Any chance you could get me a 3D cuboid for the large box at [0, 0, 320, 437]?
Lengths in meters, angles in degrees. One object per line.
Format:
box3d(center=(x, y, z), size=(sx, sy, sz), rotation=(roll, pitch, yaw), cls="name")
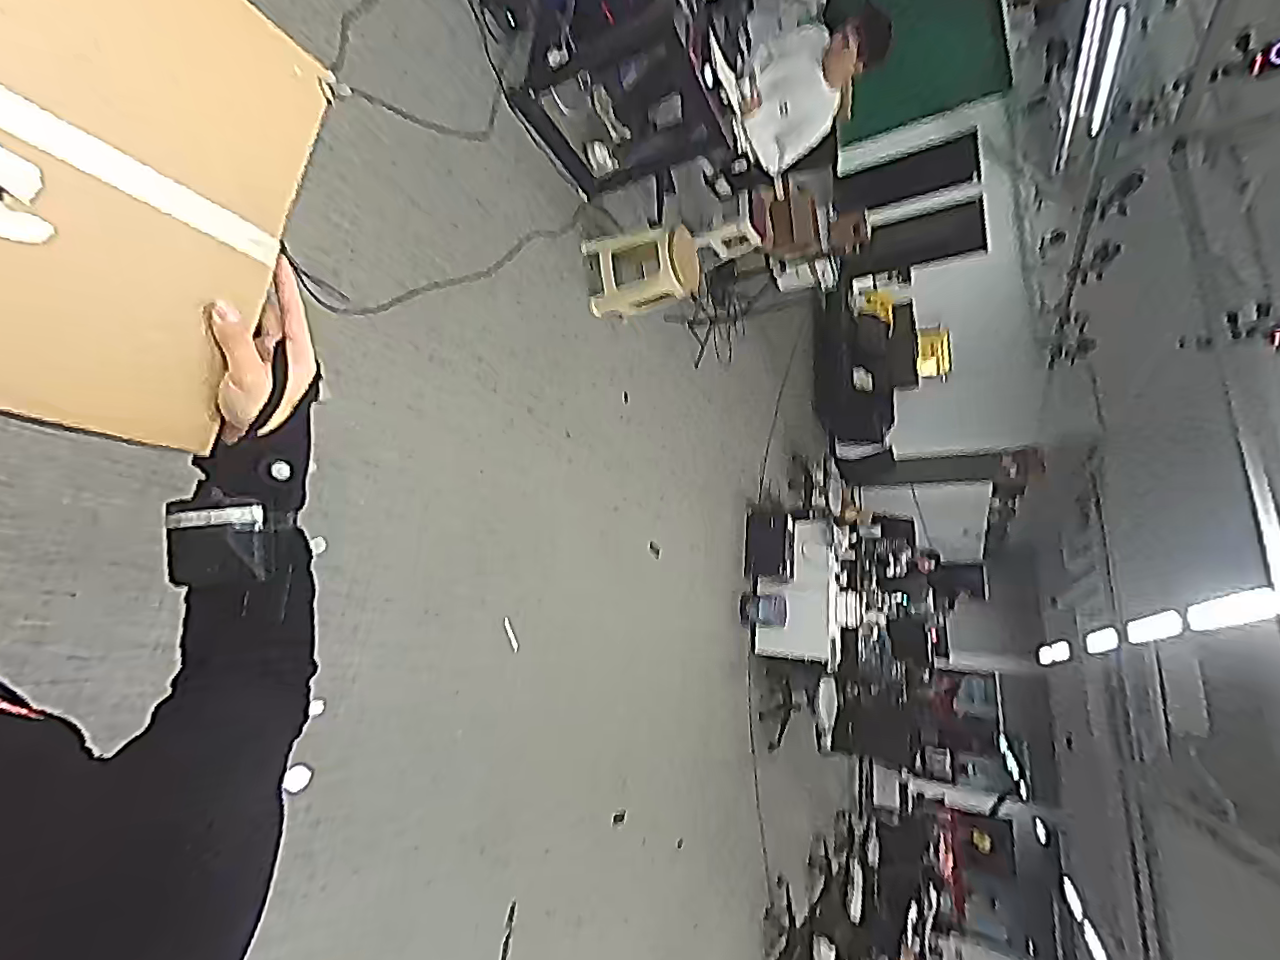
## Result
box3d(center=(-0.507, -0.233, 0.322), size=(0.408, 0.320, 0.320), rotation=(25, 76, -56), cls="large box")
